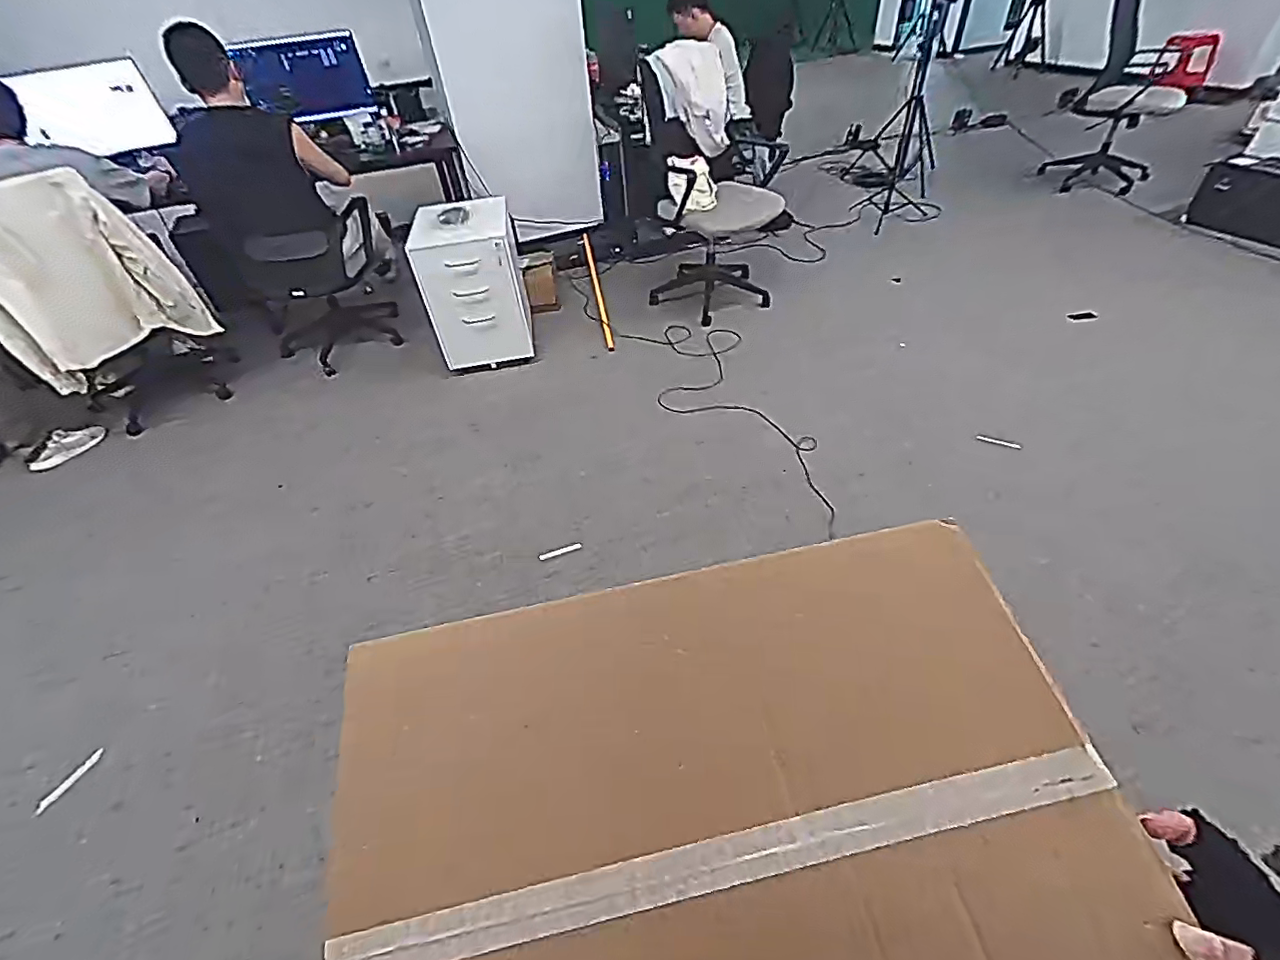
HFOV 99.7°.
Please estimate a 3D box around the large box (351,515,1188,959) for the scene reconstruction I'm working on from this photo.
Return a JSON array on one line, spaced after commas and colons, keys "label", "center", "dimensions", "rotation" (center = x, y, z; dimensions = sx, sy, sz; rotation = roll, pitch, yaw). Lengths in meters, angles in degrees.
[{"label": "large box", "center": [0.052, 0.270, 0.416], "dimensions": [0.408, 0.320, 0.320], "rotation": [-12, 59, -4]}]
